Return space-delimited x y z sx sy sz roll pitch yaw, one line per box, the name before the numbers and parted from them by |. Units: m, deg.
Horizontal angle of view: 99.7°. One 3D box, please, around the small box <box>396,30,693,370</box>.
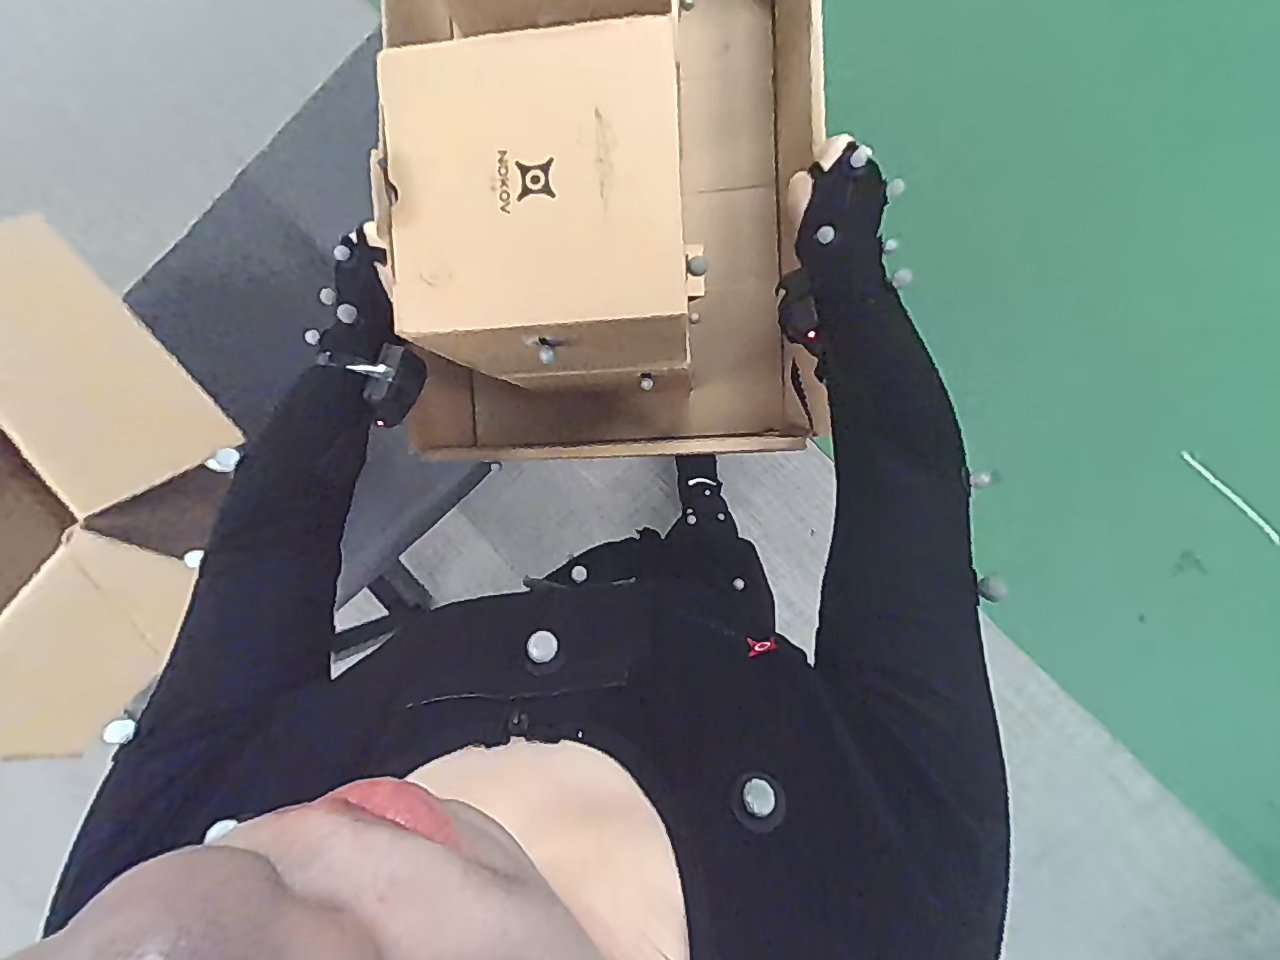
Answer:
small box | -0.051 -0.177 0.399 0.179 0.176 0.168 -2 94 4
